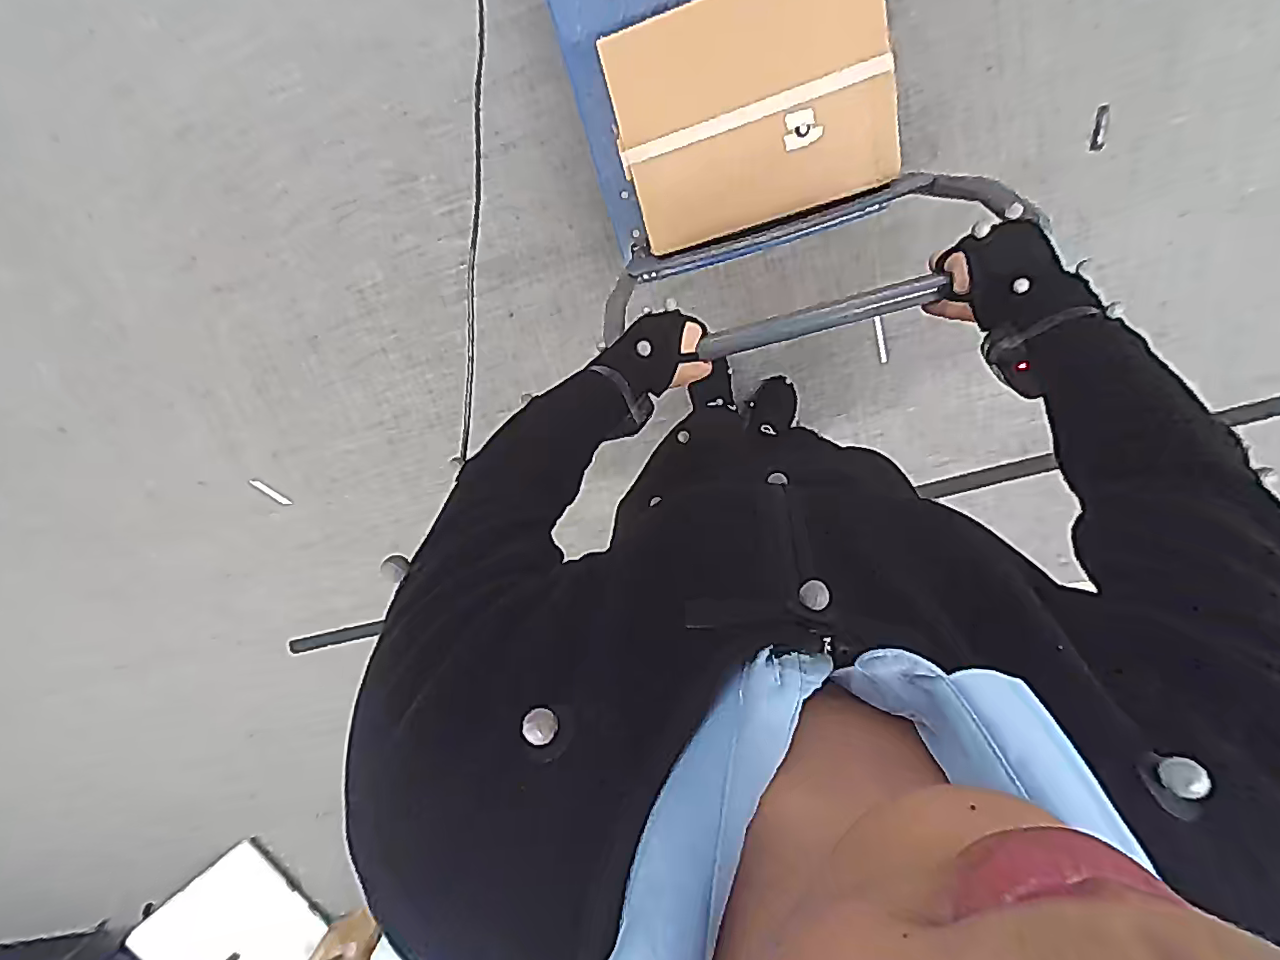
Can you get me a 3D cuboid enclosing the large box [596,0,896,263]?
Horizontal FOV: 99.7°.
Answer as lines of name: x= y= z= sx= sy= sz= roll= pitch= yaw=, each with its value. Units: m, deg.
large box: x=0.177 y=-0.610 z=0.954 sx=0.408 sy=0.320 sz=0.320 roll=-14 pitch=115 yaw=12
